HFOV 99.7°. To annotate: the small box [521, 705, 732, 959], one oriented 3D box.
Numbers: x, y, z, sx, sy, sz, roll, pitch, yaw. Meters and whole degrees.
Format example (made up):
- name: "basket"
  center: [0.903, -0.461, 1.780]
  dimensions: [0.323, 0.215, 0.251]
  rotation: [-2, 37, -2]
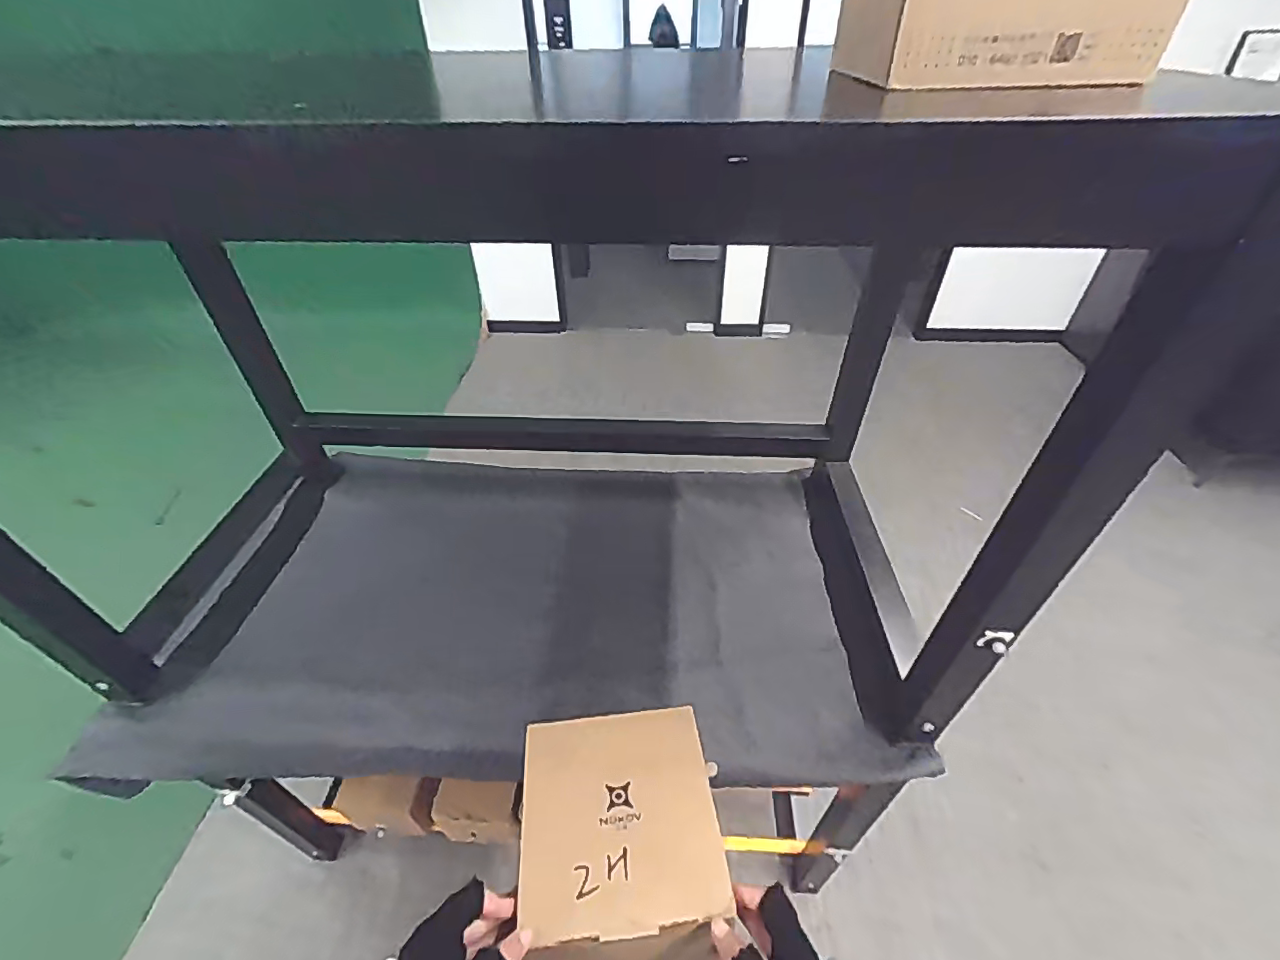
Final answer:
- name: "small box"
  center: [-0.016, 0.350, 0.524]
  dimensions: [0.168, 0.176, 0.179]
  rotation: [-4, 35, -4]
